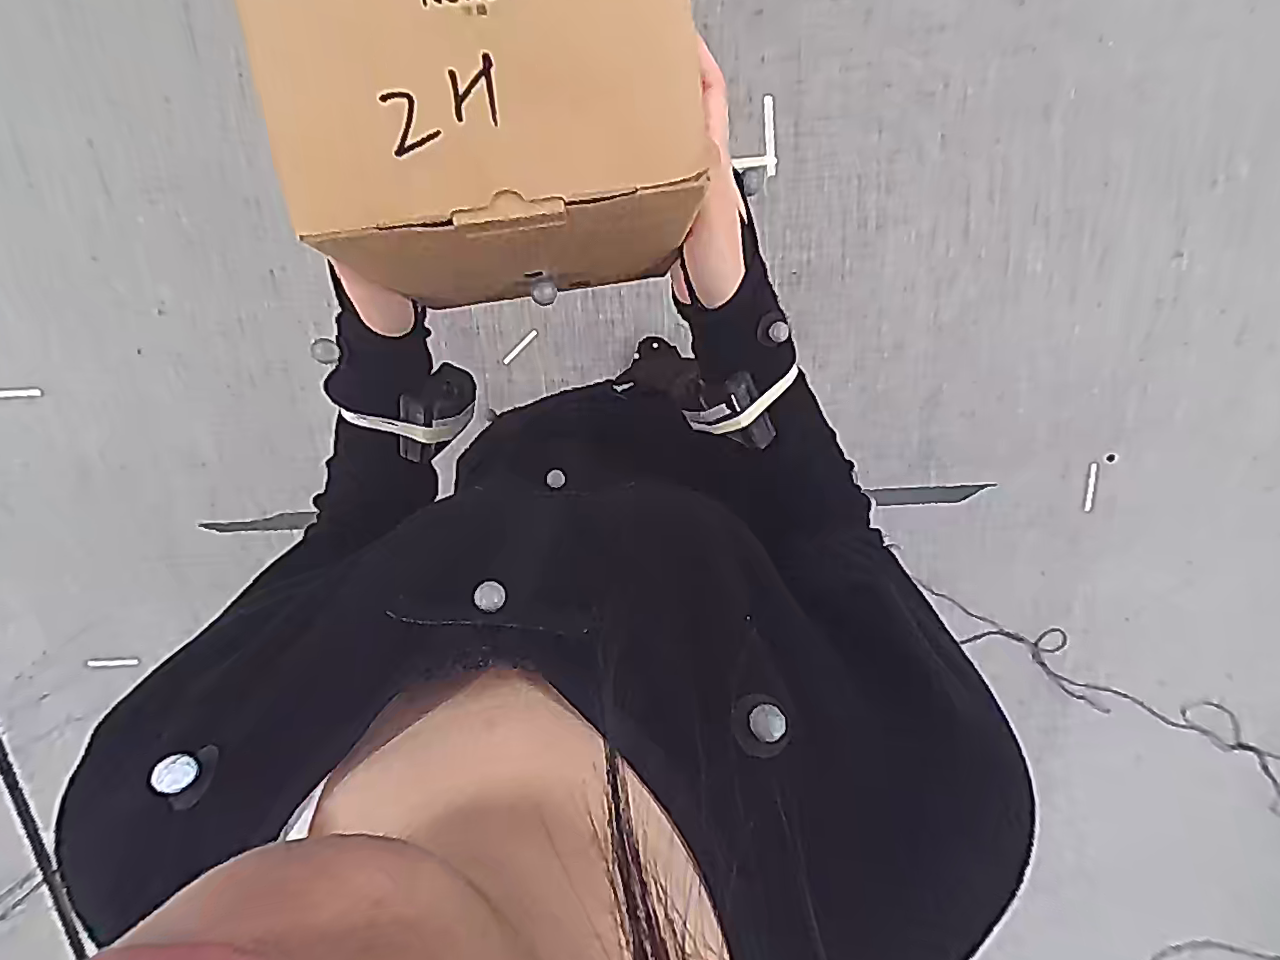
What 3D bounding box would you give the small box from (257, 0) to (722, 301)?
[{"bbox_3d":[-0.065,-0.205,0.277,0.168,0.176,0.179,-9,99,-2],"label":"small box"}]
